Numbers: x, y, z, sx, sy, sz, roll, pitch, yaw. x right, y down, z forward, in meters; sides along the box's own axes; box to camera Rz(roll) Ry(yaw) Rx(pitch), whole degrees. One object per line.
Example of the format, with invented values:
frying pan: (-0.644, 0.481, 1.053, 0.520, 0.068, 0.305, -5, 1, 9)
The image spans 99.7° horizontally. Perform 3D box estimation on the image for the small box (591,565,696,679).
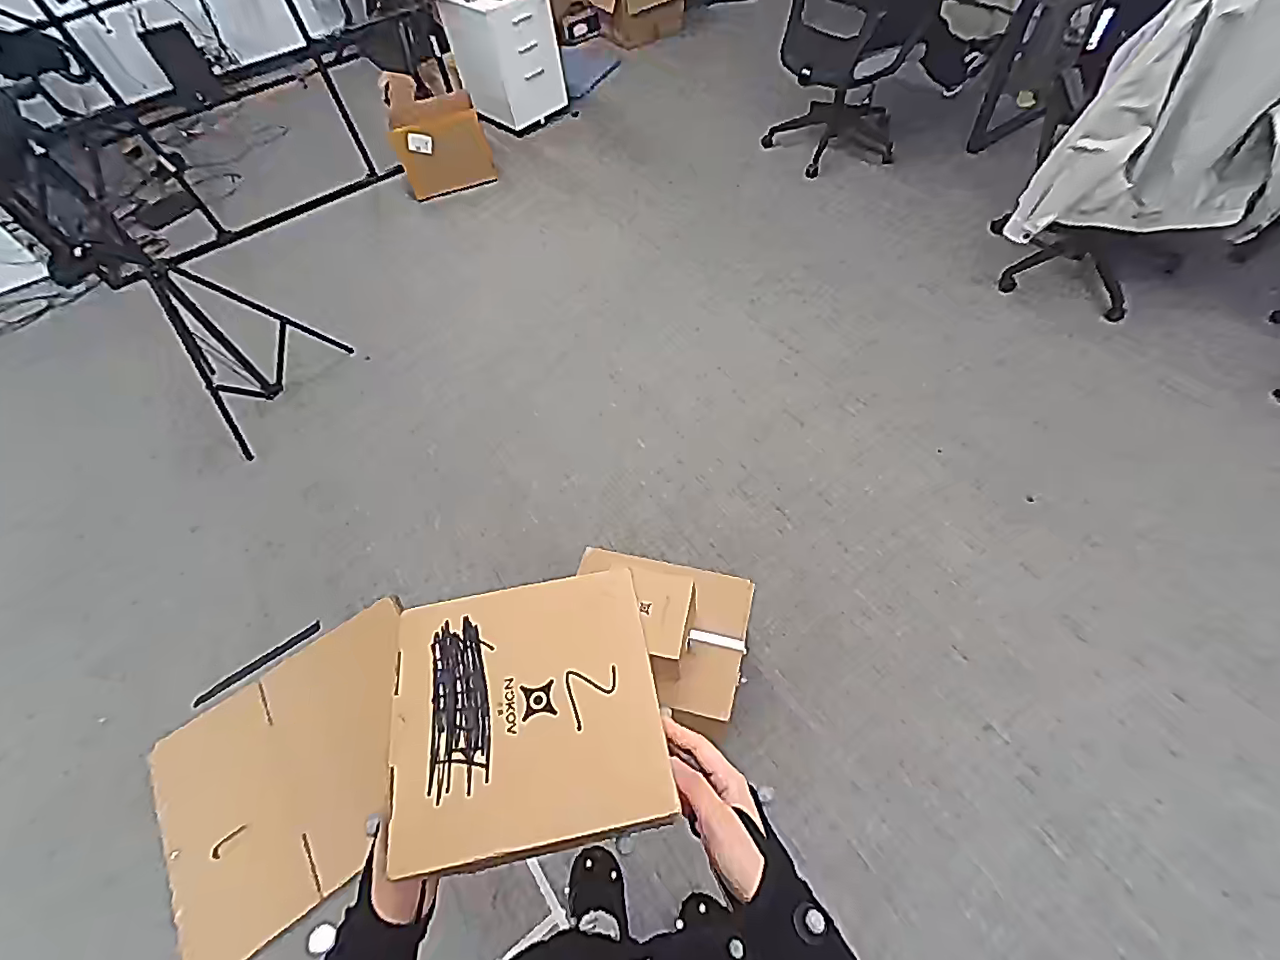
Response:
small box: (0.015, 0.293, 1.101, 0.179, 0.176, 0.168, 8, 59, 11)
